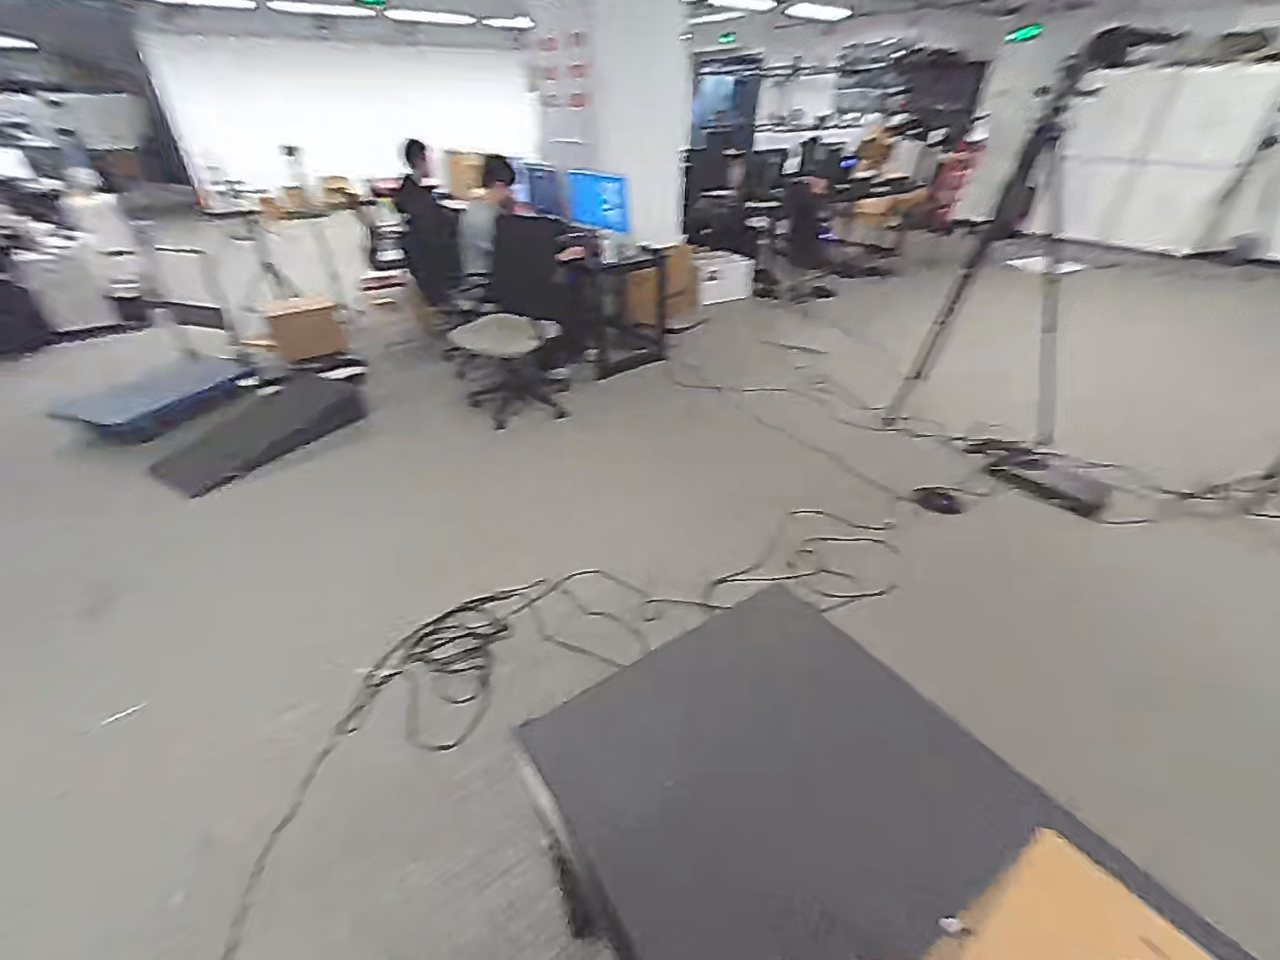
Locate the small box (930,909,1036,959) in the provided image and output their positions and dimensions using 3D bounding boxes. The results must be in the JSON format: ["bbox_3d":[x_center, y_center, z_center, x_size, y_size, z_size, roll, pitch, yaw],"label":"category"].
[{"bbox_3d":[0.305,0.538,0.465,0.179,0.176,0.168,-23,40,-31],"label":"small box"}]
